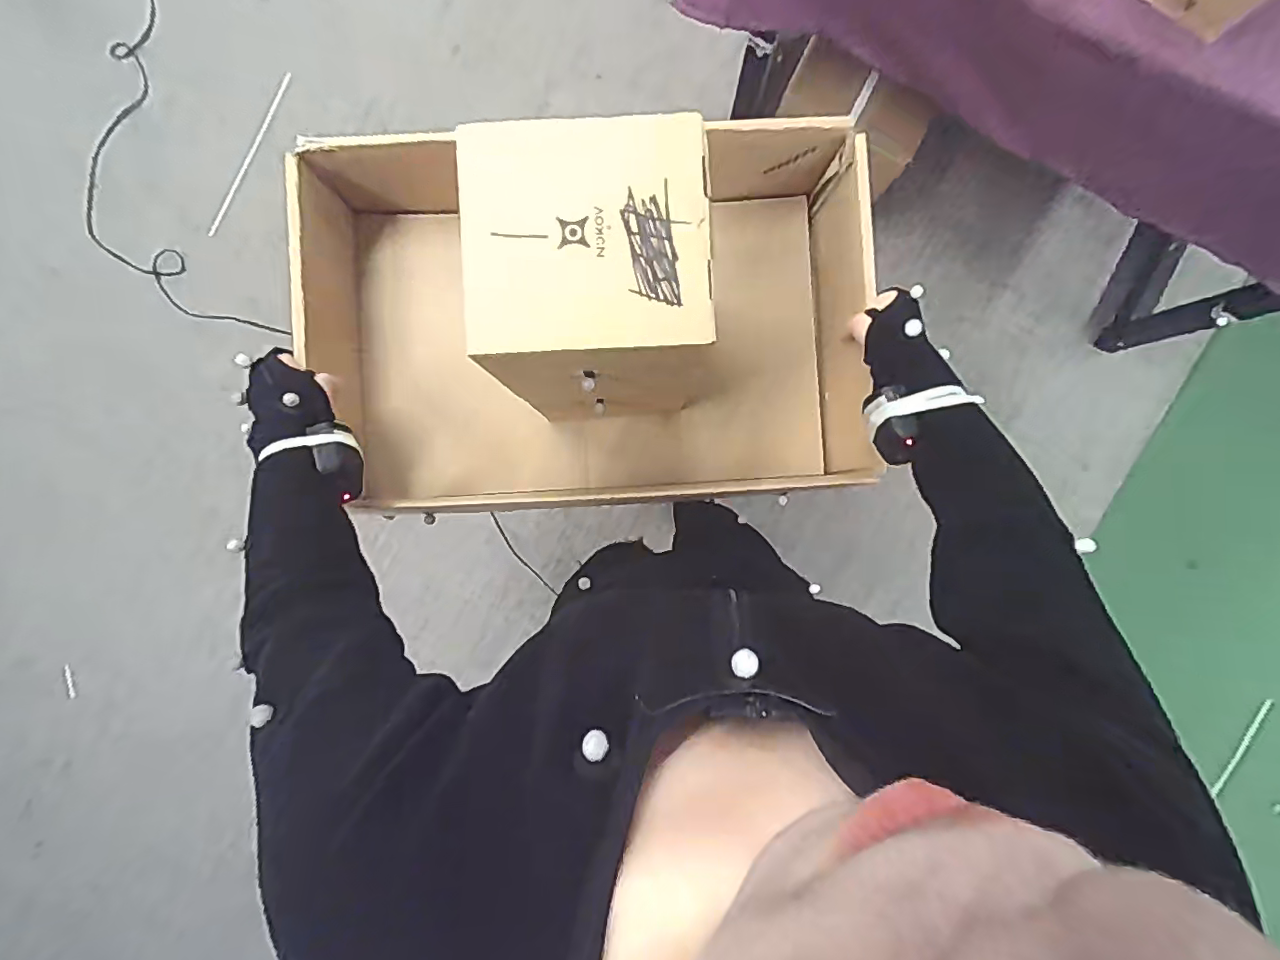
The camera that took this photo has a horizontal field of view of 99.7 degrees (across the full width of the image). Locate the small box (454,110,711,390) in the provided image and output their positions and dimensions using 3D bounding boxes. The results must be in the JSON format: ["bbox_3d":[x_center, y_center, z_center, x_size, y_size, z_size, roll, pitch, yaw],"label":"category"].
[{"bbox_3d":[-0.041,-0.174,0.458,0.179,0.176,0.168,-3,89,0],"label":"small box"}]

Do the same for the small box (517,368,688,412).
[{"bbox_3d":[-0.042,-0.174,0.622,0.179,0.176,0.168,-4,90,0],"label":"small box"}]

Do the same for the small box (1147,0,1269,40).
[{"bbox_3d":[0.749,-0.698,0.643,0.168,0.176,0.179,34,93,0],"label":"small box"}]
